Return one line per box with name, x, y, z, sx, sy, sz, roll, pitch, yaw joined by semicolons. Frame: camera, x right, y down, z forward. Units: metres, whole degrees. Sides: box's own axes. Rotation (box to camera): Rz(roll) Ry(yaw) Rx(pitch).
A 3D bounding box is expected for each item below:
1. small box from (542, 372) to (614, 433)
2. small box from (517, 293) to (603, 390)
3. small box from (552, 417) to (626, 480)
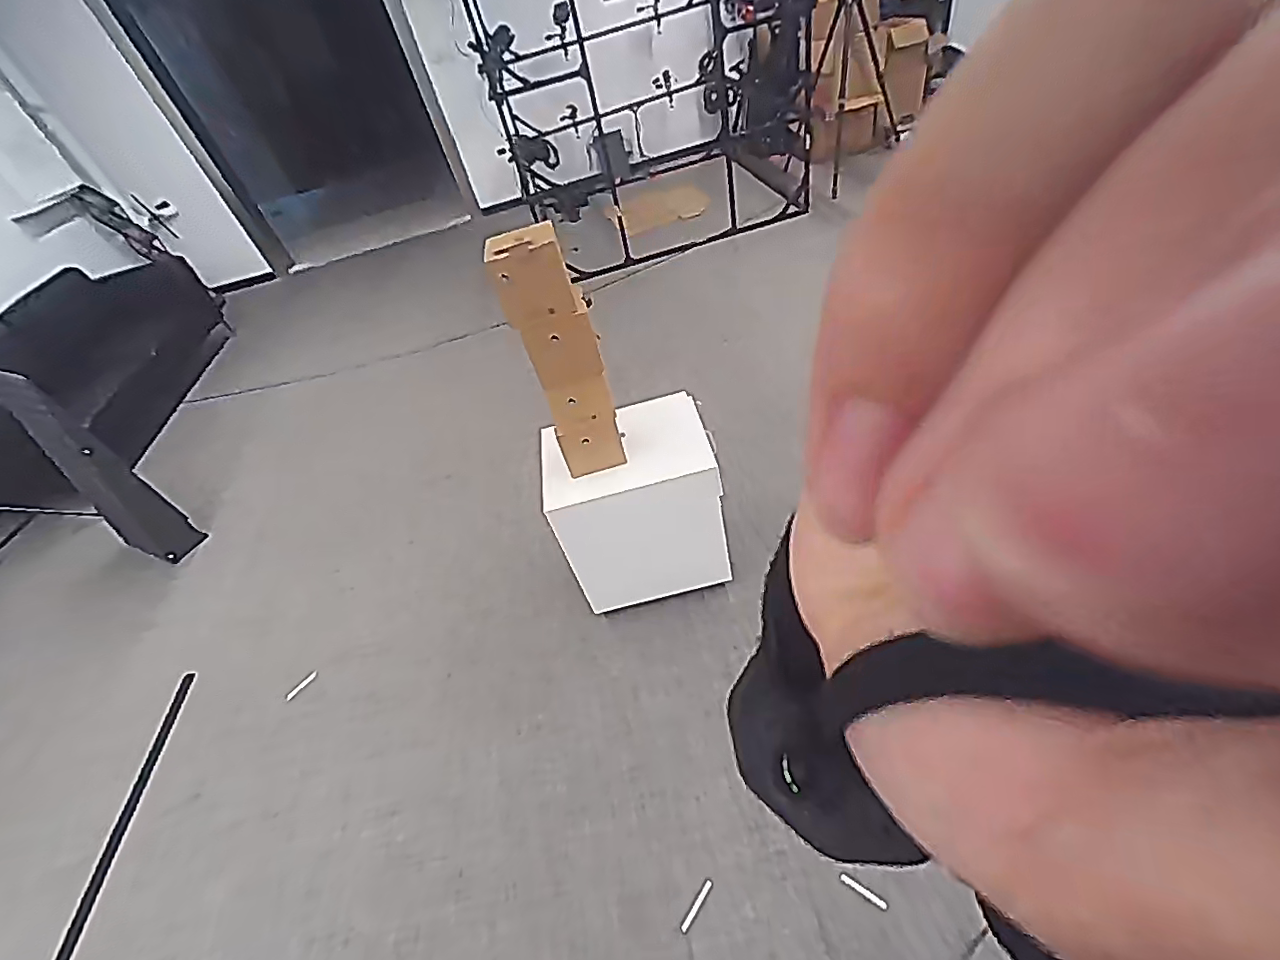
small box;-0.177;-0.251;1.530;0.168;0.176;0.179;-16;42;0
small box;-0.206;-0.356;1.405;0.179;0.176;0.168;-16;43;0
small box;-0.154;-0.124;1.629;0.179;0.176;0.168;-16;43;-1
